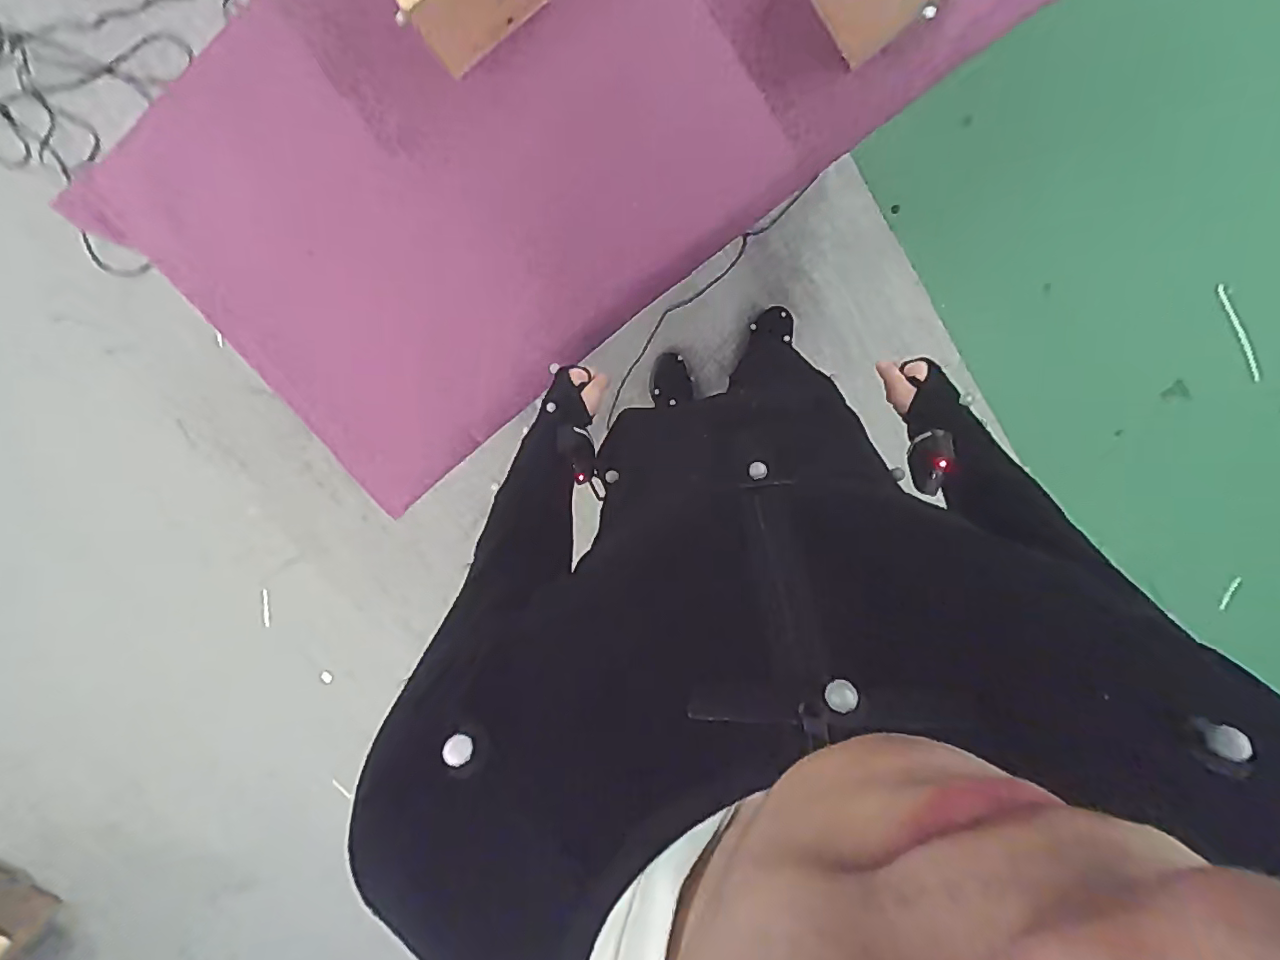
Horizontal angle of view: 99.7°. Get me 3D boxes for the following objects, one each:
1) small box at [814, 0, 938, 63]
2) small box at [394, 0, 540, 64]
[{"bbox_3d":[0.294,-0.648,0.625,0.168,0.176,0.179,-36,101,11],"label":"small box"},{"bbox_3d":[-0.237,-0.642,0.638,0.168,0.176,0.179,-33,102,8],"label":"small box"}]
